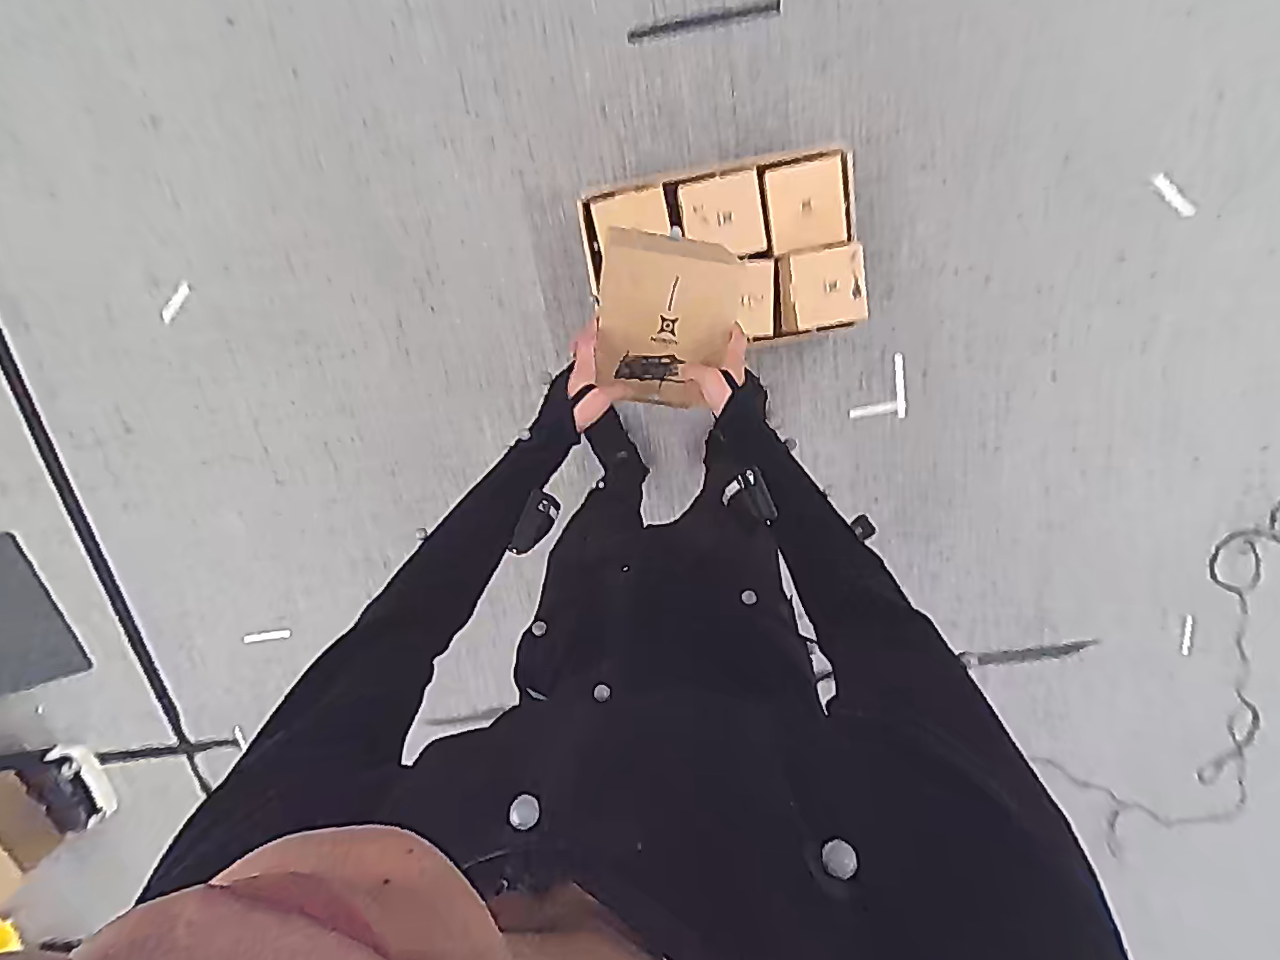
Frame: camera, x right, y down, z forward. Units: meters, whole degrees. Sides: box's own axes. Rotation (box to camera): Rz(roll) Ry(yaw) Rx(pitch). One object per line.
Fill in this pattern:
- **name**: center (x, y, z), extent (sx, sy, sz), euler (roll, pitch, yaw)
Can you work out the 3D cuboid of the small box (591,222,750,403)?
- **small box**: center (0.029, -0.225, 0.716), extent (0.168, 0.176, 0.179), euler (7, 122, -8)
